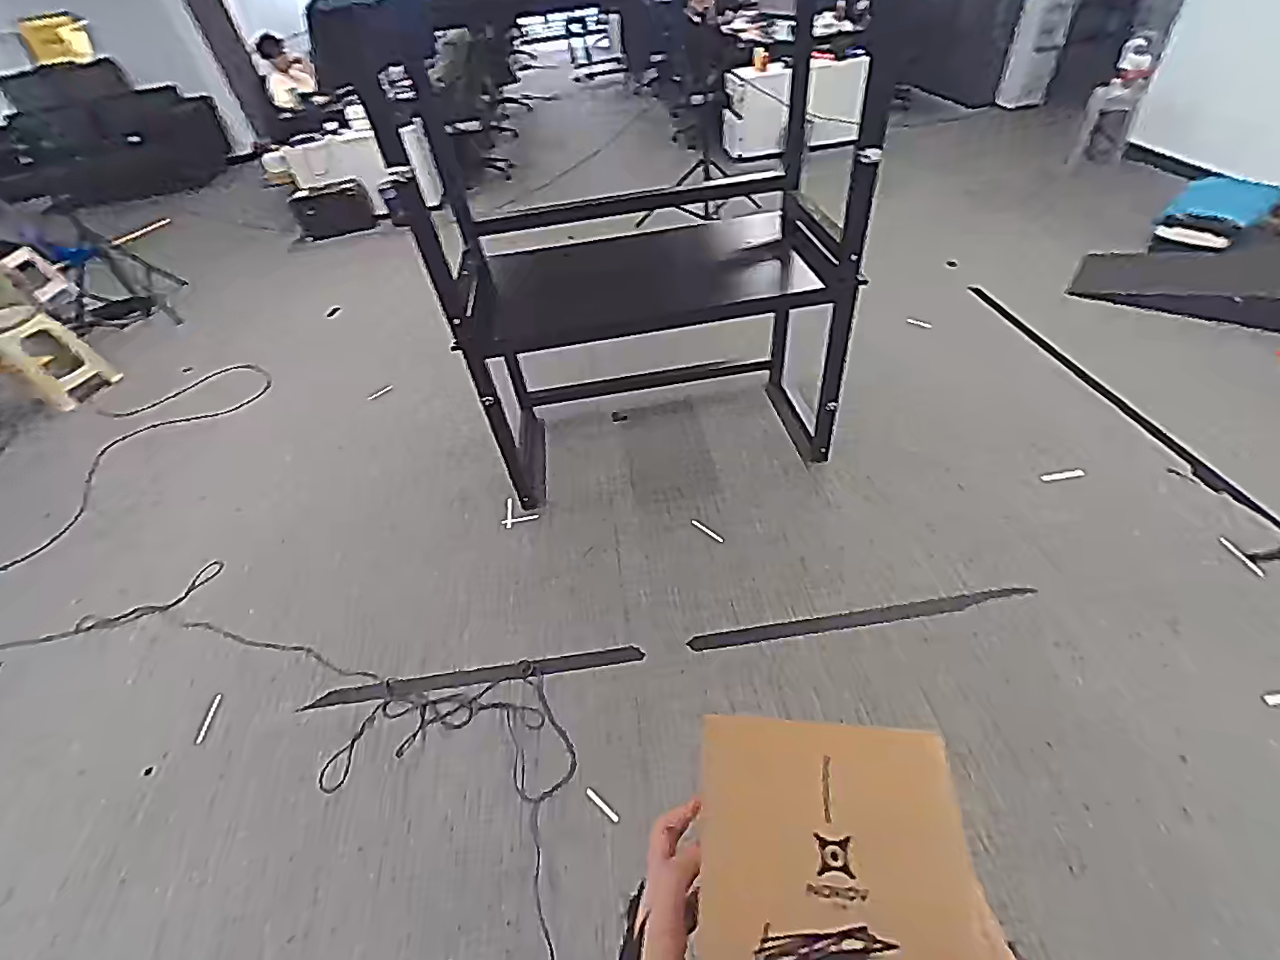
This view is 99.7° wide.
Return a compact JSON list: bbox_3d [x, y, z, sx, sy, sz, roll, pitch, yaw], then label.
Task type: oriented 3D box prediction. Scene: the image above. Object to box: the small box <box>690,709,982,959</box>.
[{"bbox_3d":[0.123,0.286,0.400,0.168,0.176,0.179,0,53,6],"label":"small box"}]
